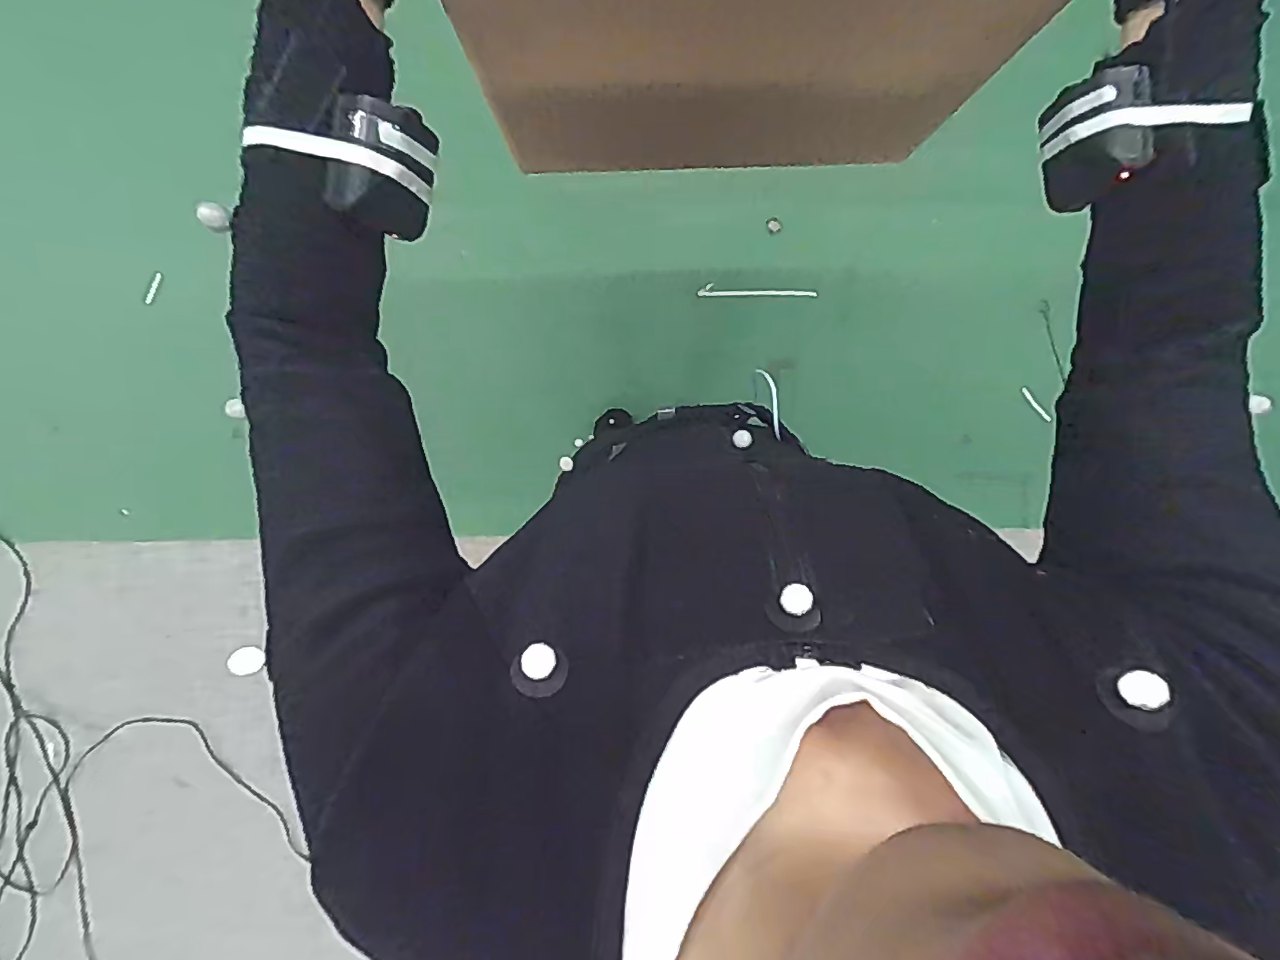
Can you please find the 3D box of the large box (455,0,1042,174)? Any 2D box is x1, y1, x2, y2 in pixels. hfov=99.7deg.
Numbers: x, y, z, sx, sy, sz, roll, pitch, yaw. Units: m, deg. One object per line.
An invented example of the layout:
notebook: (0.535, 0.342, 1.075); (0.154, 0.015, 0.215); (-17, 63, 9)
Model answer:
large box: (0.067, -0.464, 0.402); (0.408, 0.320, 0.320); (-3, 97, -2)
